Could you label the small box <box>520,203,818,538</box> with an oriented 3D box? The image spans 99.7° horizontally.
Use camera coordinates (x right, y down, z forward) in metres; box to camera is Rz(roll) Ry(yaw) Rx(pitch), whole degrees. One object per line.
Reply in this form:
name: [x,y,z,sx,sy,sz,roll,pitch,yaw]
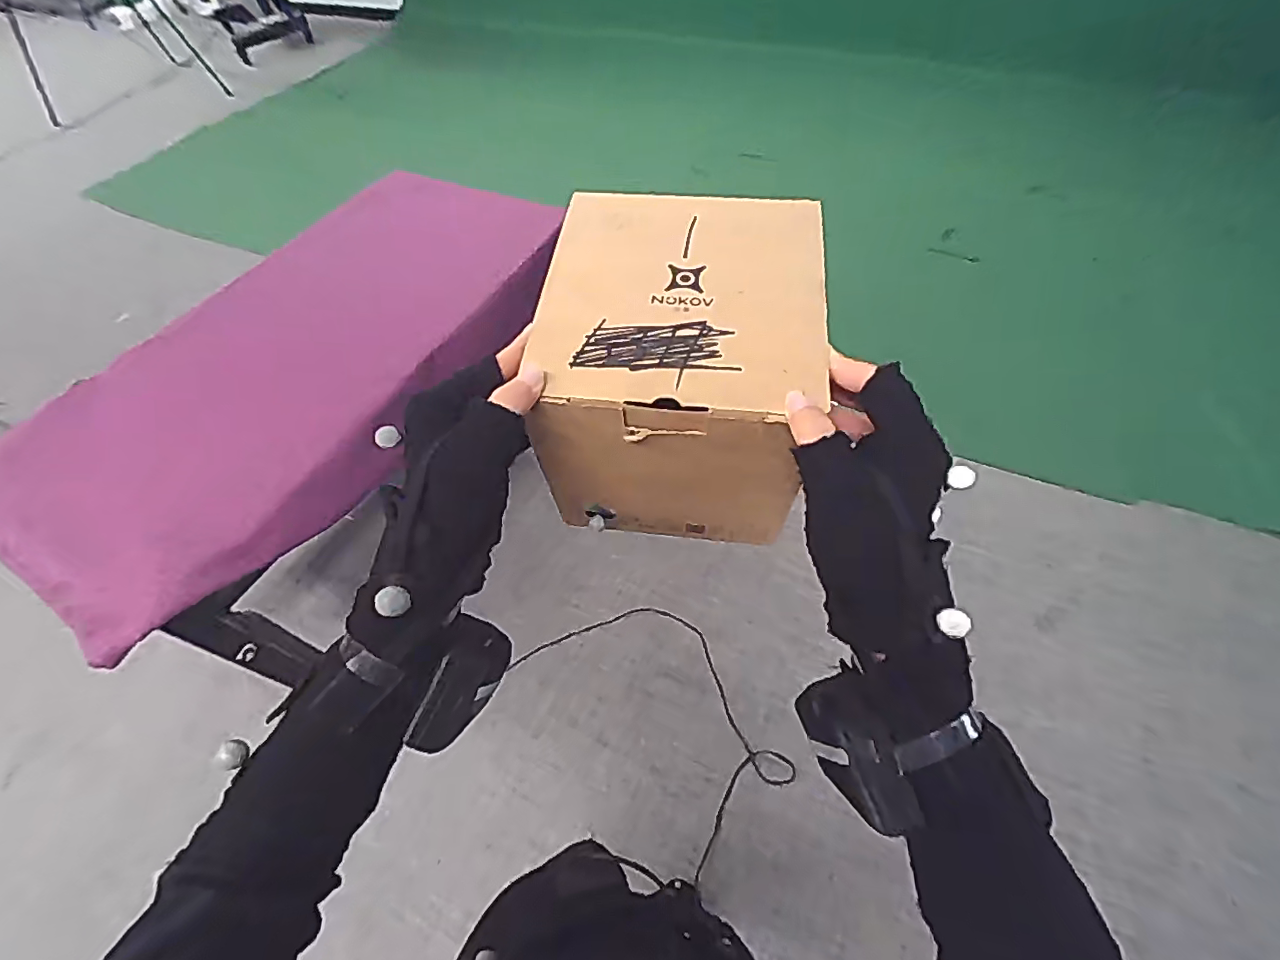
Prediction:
small box: [0.029,-0.072,0.398,0.168,0.176,0.179,6,60,6]
